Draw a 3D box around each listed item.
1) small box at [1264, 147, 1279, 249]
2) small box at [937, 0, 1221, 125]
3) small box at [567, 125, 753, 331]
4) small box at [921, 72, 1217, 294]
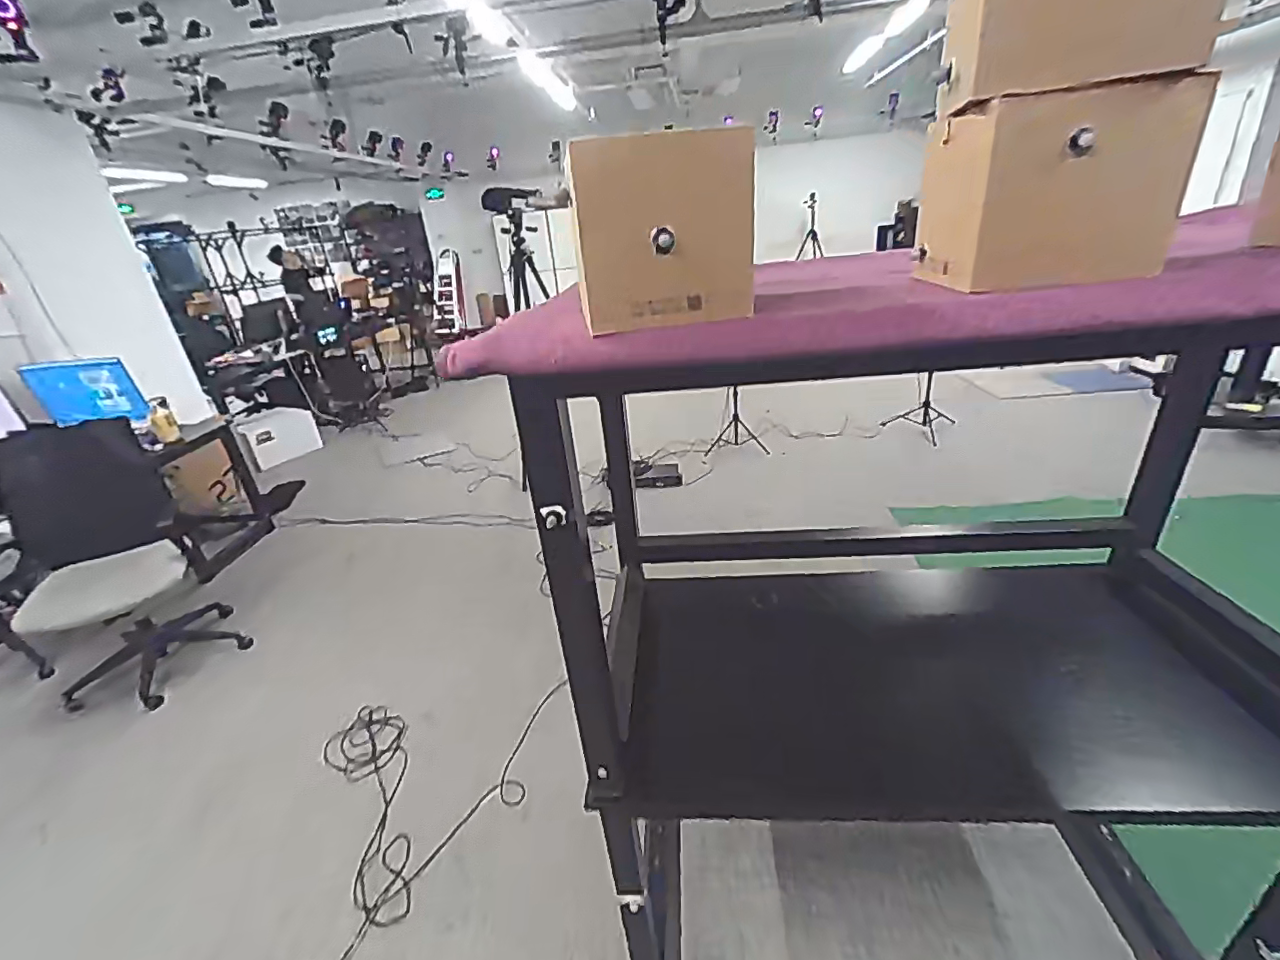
[{"bbox_3d":[0.790,-0.320,0.530,0.179,0.176,0.168,-4,23,8],"label":"small box"},{"bbox_3d":[0.392,-0.439,0.495,0.179,0.176,0.168,1,26,17],"label":"small box"},{"bbox_3d":[0.016,-0.258,0.572,0.168,0.176,0.179,-7,26,-5],"label":"small box"},{"bbox_3d":[0.413,-0.294,0.564,0.179,0.176,0.168,-2,26,7],"label":"small box"}]
